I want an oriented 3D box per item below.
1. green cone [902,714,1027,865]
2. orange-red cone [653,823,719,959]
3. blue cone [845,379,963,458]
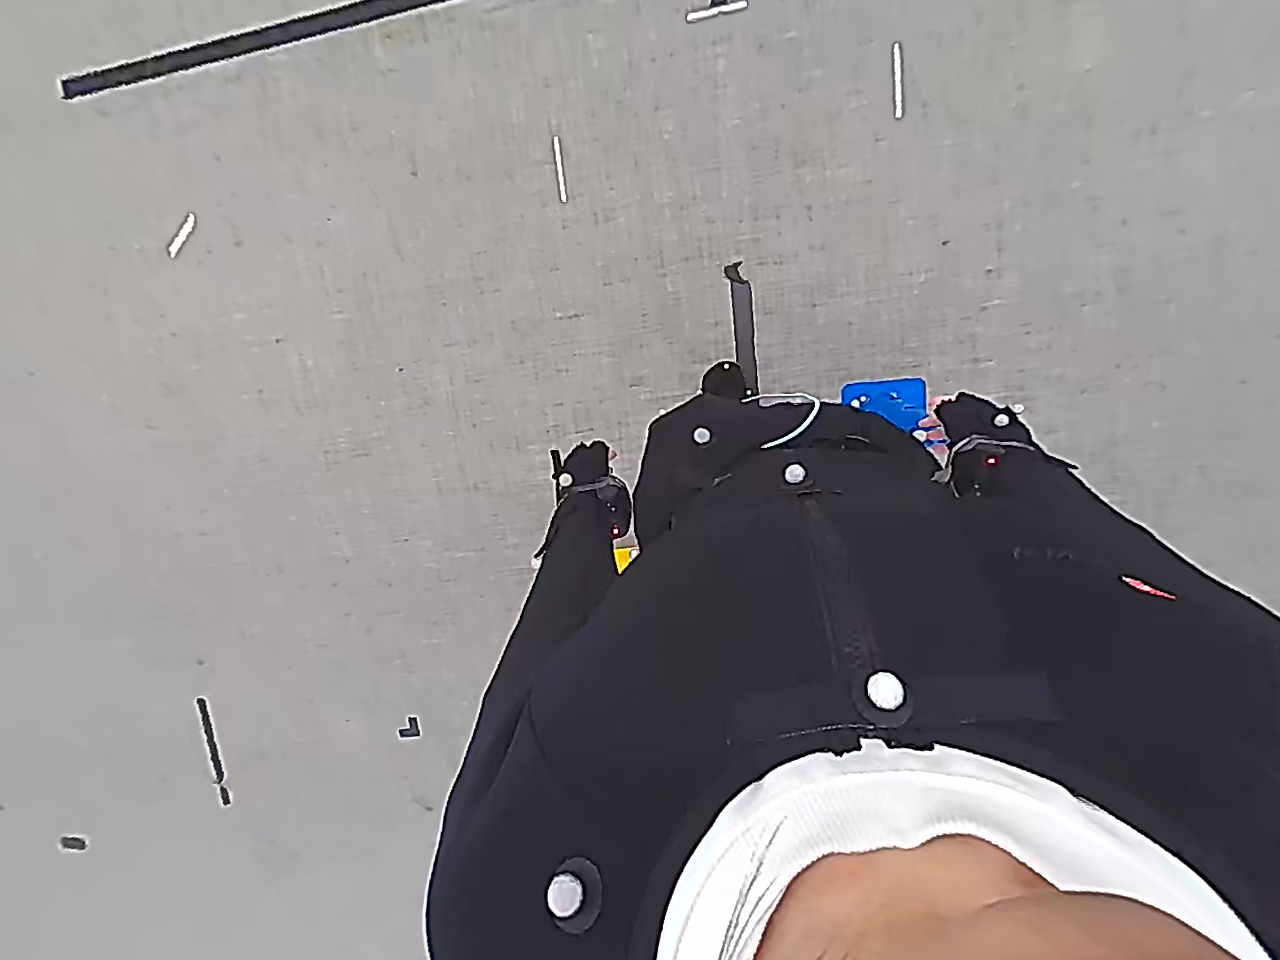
[{"bbox_3d":[0.807,0.764,1.310,0.202,0.368,0.200,-5,100,7],"label":"green cone"},{"bbox_3d":[0.116,1.162,1.474,0.199,0.360,0.198,-1,99,8],"label":"orange-red cone"},{"bbox_3d":[0.594,-0.122,1.189,0.192,0.380,0.193,-2,100,7],"label":"blue cone"}]
